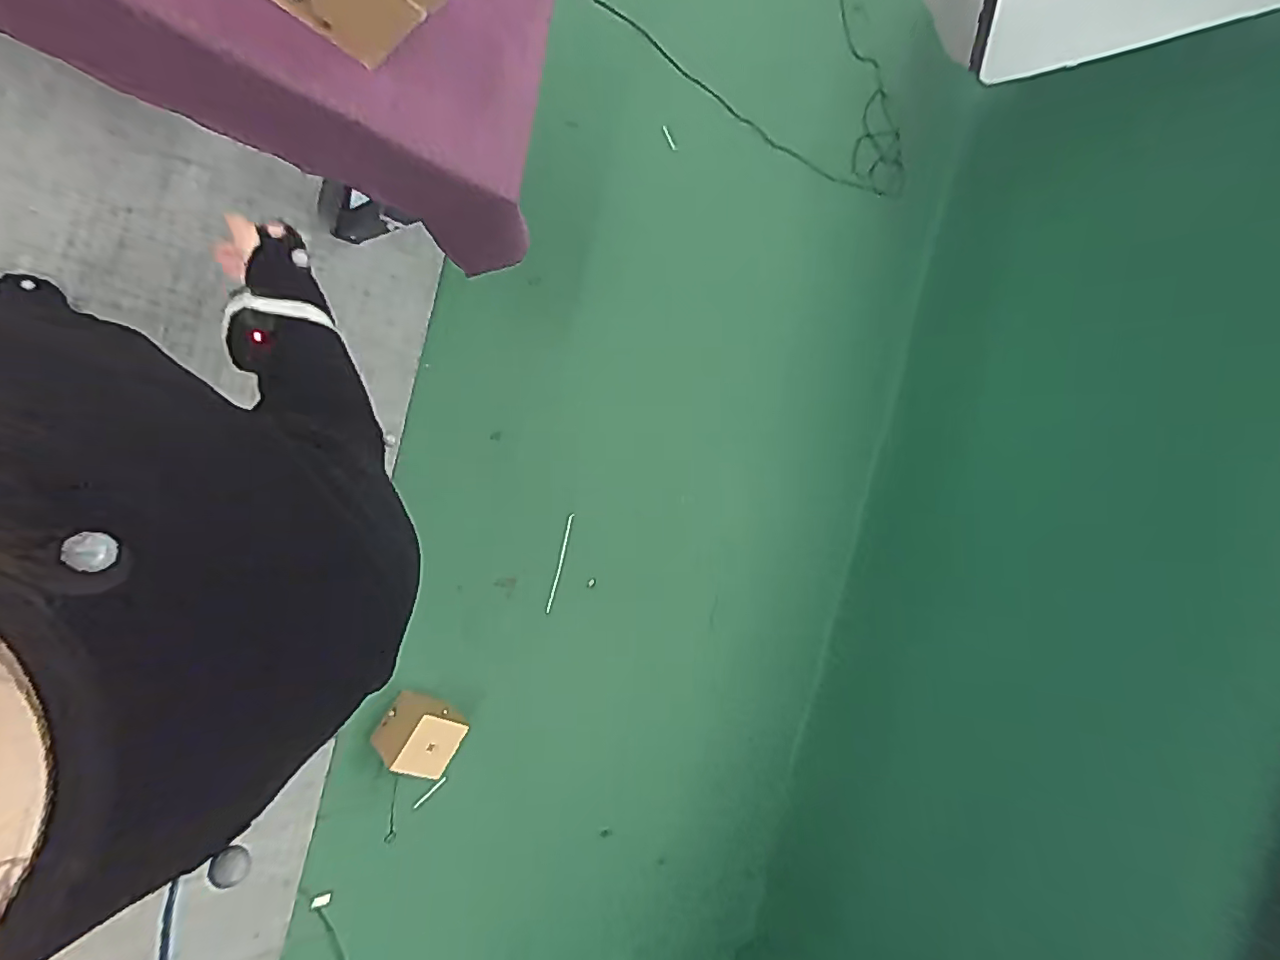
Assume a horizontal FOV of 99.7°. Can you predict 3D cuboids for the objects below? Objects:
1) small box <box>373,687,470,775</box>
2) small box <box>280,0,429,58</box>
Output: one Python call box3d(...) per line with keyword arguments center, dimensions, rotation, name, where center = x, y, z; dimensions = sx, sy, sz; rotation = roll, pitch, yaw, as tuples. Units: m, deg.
box3d(center=(-0.654, 0.747, 1.618), dimensions=(0.179, 0.176, 0.168), rotation=(45, 69, -42), name="small box")
box3d(center=(-0.309, -0.597, 0.556), dimensions=(0.168, 0.176, 0.179), rotation=(15, 91, -45), name="small box")
